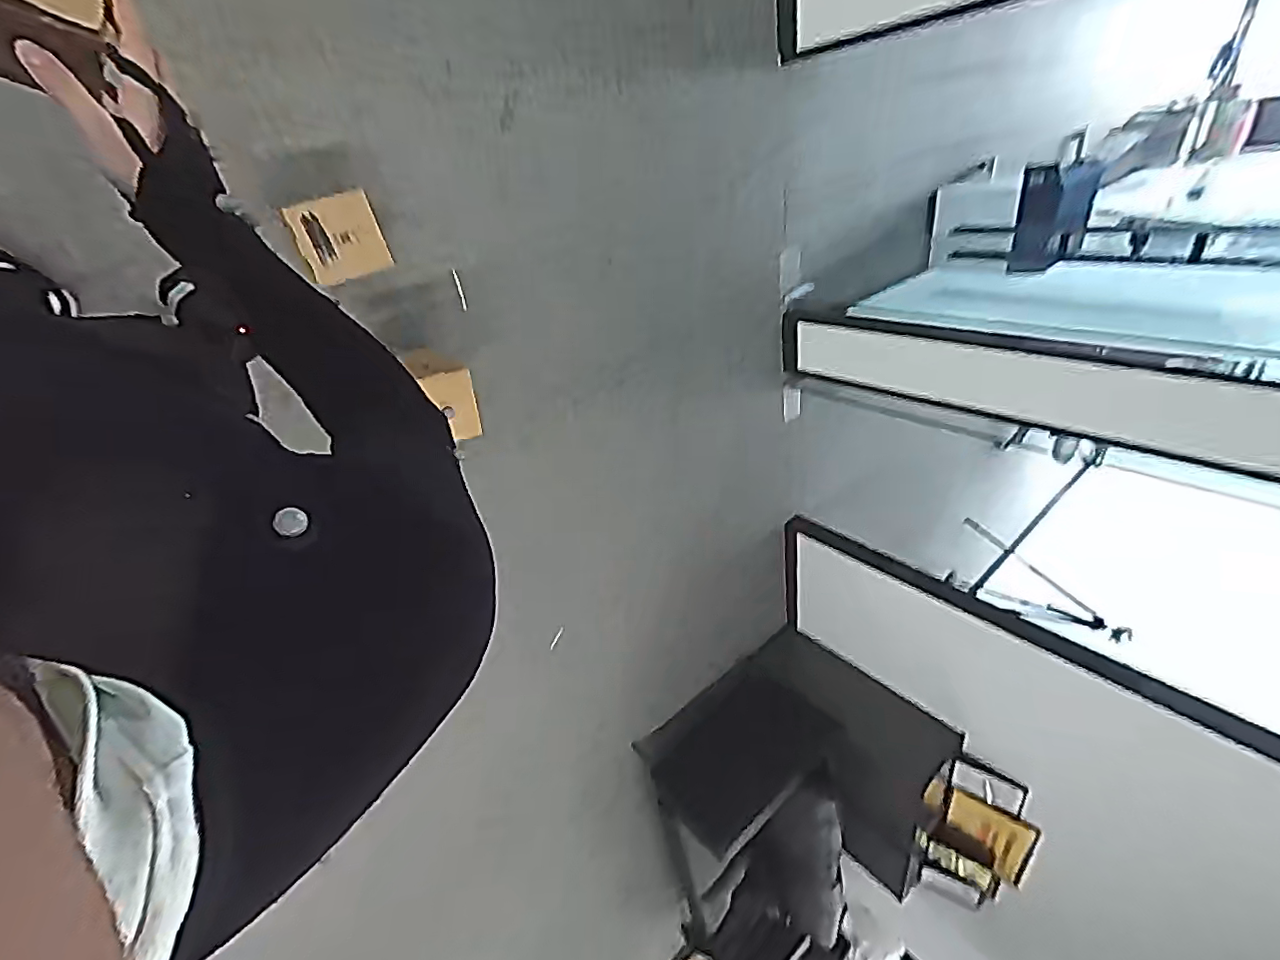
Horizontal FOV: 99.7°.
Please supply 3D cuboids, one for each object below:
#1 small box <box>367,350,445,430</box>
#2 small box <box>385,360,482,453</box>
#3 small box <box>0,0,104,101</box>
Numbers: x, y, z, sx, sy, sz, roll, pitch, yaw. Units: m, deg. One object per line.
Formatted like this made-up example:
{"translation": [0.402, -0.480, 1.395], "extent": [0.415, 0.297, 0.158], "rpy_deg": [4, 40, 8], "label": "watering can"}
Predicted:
{"translation": [-0.634, -0.253, 1.485], "extent": [0.179, 0.176, 0.168], "rpy_deg": [-20, 122, -31], "label": "small box"}
{"translation": [-0.526, -0.193, 1.377], "extent": [0.168, 0.176, 0.179], "rpy_deg": [-23, 122, -32], "label": "small box"}
{"translation": [-0.501, -0.418, 0.385], "extent": [0.168, 0.176, 0.179], "rpy_deg": [2, 97, -44], "label": "small box"}
